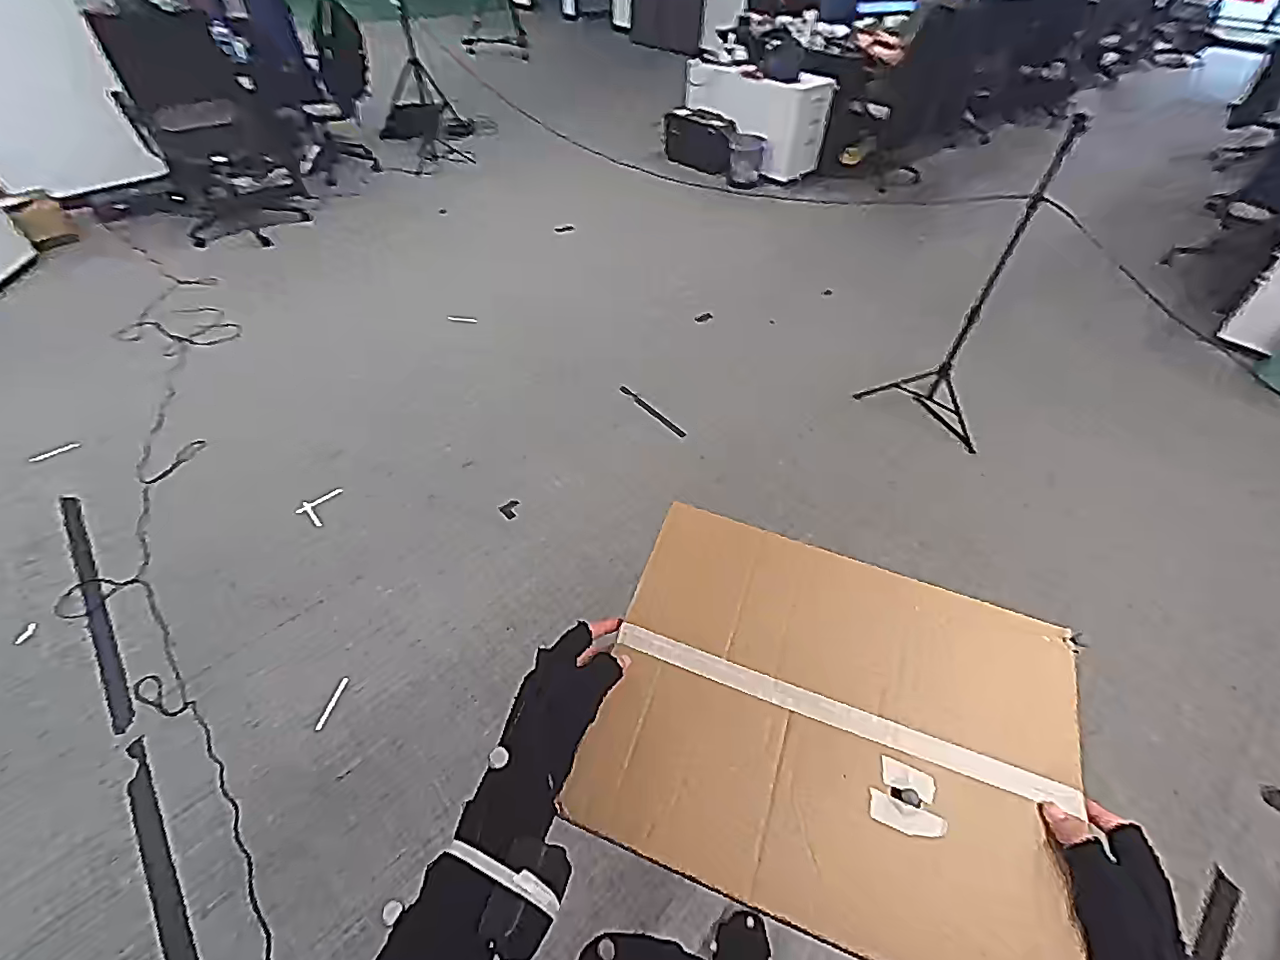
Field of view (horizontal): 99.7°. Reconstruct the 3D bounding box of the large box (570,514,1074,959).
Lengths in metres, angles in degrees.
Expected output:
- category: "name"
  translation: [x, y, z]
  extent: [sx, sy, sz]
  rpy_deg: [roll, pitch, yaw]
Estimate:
- category: "large box"
  translation: [0.173, 0.292, 0.619]
  extent: [0.408, 0.320, 0.320]
  rpy_deg: [18, 59, 11]
